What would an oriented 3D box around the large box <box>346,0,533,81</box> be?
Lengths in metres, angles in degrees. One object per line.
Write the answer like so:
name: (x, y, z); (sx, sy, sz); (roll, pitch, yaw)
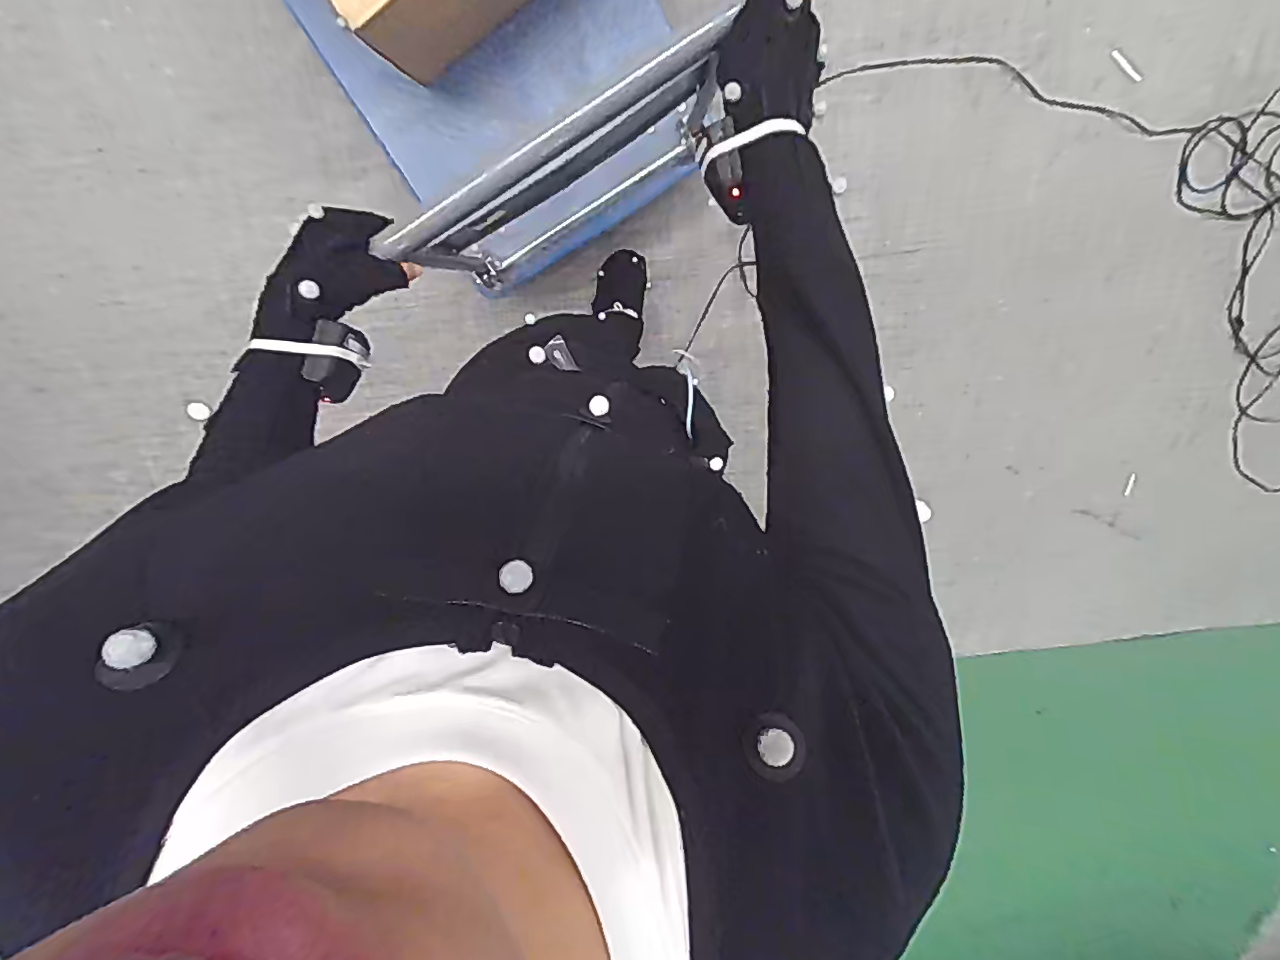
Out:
large box: (-0.292, -0.889, 0.779); (0.408, 0.320, 0.320); (-31, 112, 11)
